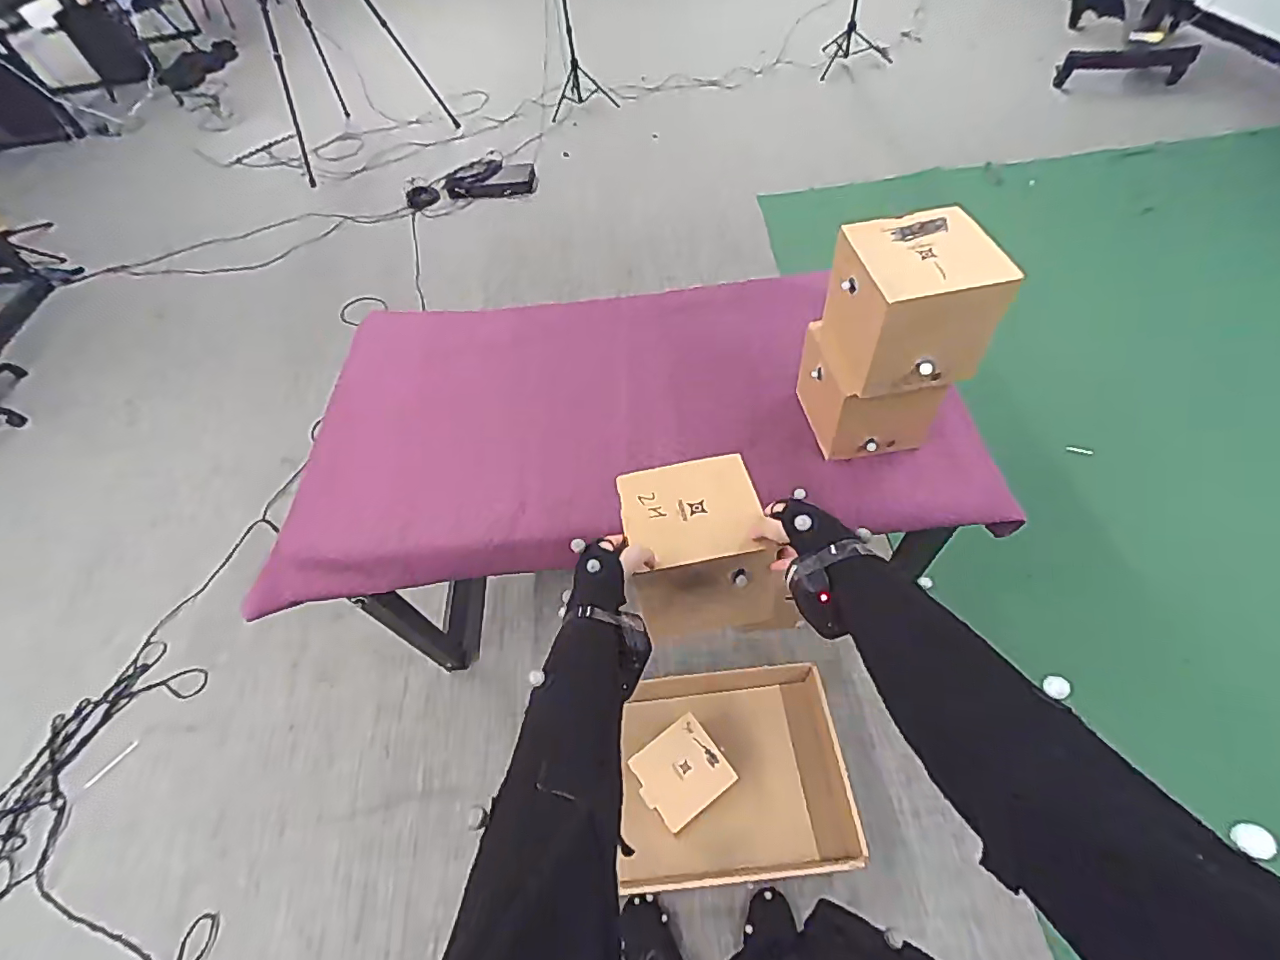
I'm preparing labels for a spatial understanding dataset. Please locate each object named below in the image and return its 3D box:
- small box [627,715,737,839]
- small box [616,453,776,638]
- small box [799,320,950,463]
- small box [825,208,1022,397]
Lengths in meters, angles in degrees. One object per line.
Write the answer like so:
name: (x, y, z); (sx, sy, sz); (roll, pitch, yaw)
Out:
small box: (0.097, 0.656, 1.188); (0.179, 0.176, 0.168); (-33, 57, -15)
small box: (0.071, 0.091, 0.732); (0.179, 0.176, 0.168); (-11, 46, 0)
small box: (0.371, -0.153, 0.889); (0.168, 0.176, 0.179); (-10, 53, 2)
small box: (0.370, -0.242, 0.750); (0.168, 0.176, 0.179); (-10, 53, 2)
